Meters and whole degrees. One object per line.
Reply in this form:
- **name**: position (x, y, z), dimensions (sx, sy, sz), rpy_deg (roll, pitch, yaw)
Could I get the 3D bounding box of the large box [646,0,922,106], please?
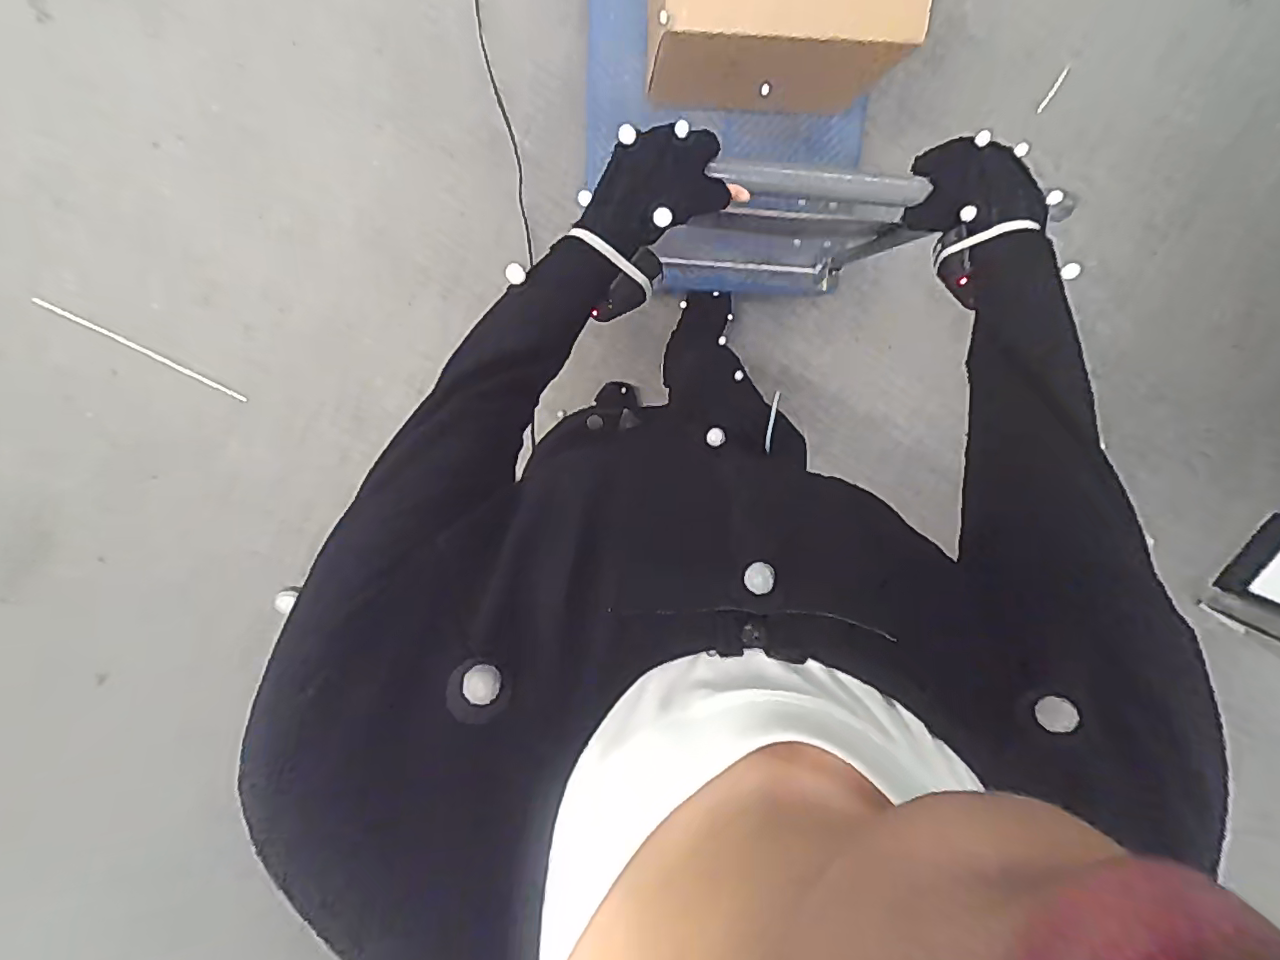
- **large box**: position (0.222, -0.867, 0.920), dimensions (0.408, 0.320, 0.320), rpy_deg (-1, 106, -4)
